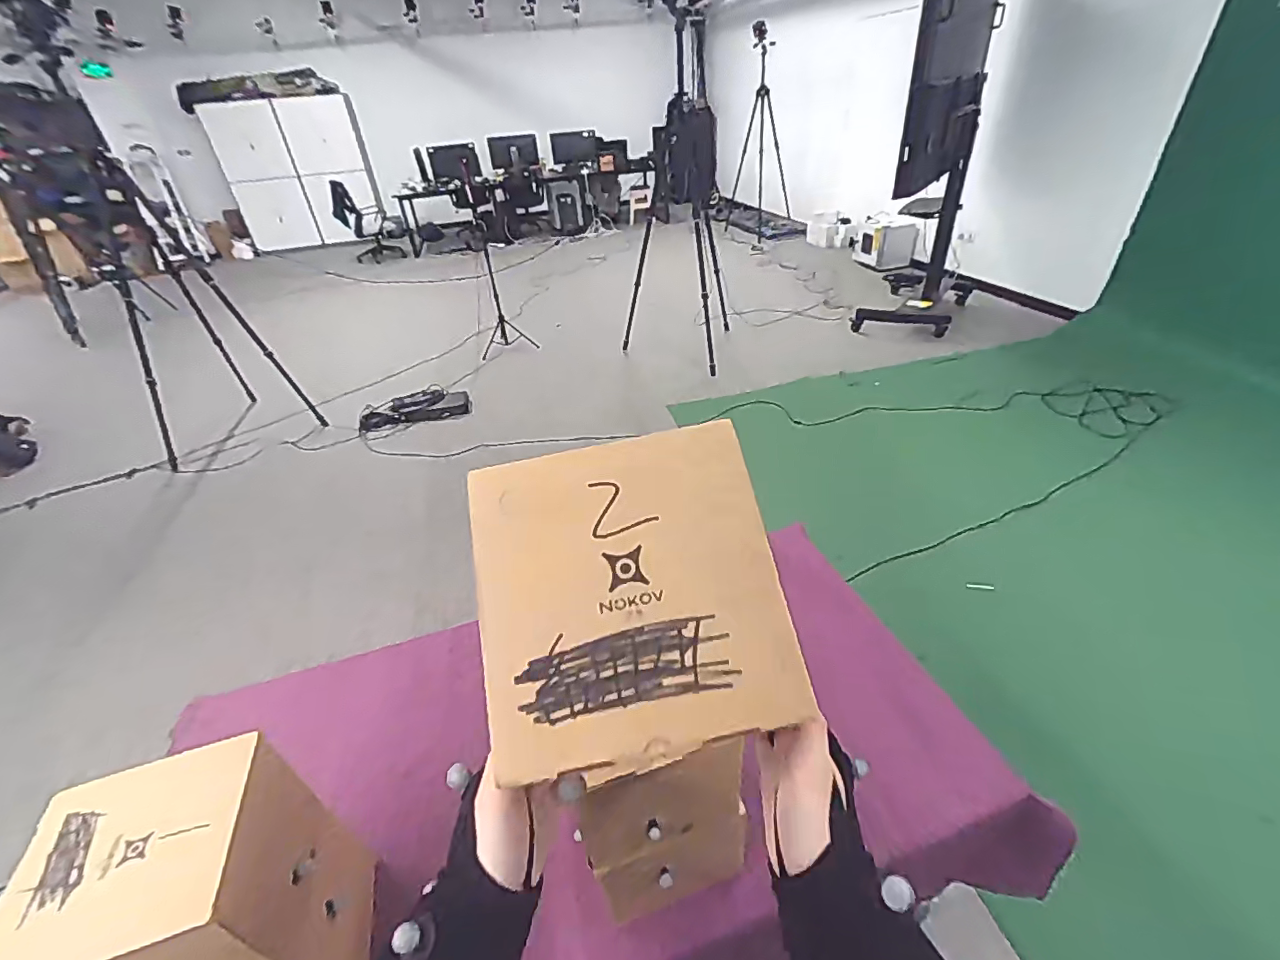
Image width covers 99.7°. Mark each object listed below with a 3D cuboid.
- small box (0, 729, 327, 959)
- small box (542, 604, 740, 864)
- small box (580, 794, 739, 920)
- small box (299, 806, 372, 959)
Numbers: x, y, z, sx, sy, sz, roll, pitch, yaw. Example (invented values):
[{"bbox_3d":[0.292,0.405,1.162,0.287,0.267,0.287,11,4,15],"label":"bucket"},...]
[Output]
[{"bbox_3d":[-0.427,0.376,0.503,0.179,0.176,0.168,-14,36,-13],"label":"small box"},{"bbox_3d":[-0.004,0.273,0.595,0.168,0.176,0.179,-13,36,-12],"label":"small box"},{"bbox_3d":[0.014,0.409,0.684,0.179,0.176,0.168,-15,36,-12],"label":"small box"},{"bbox_3d":[-0.414,0.509,0.598,0.168,0.176,0.179,-13,36,-13],"label":"small box"}]
